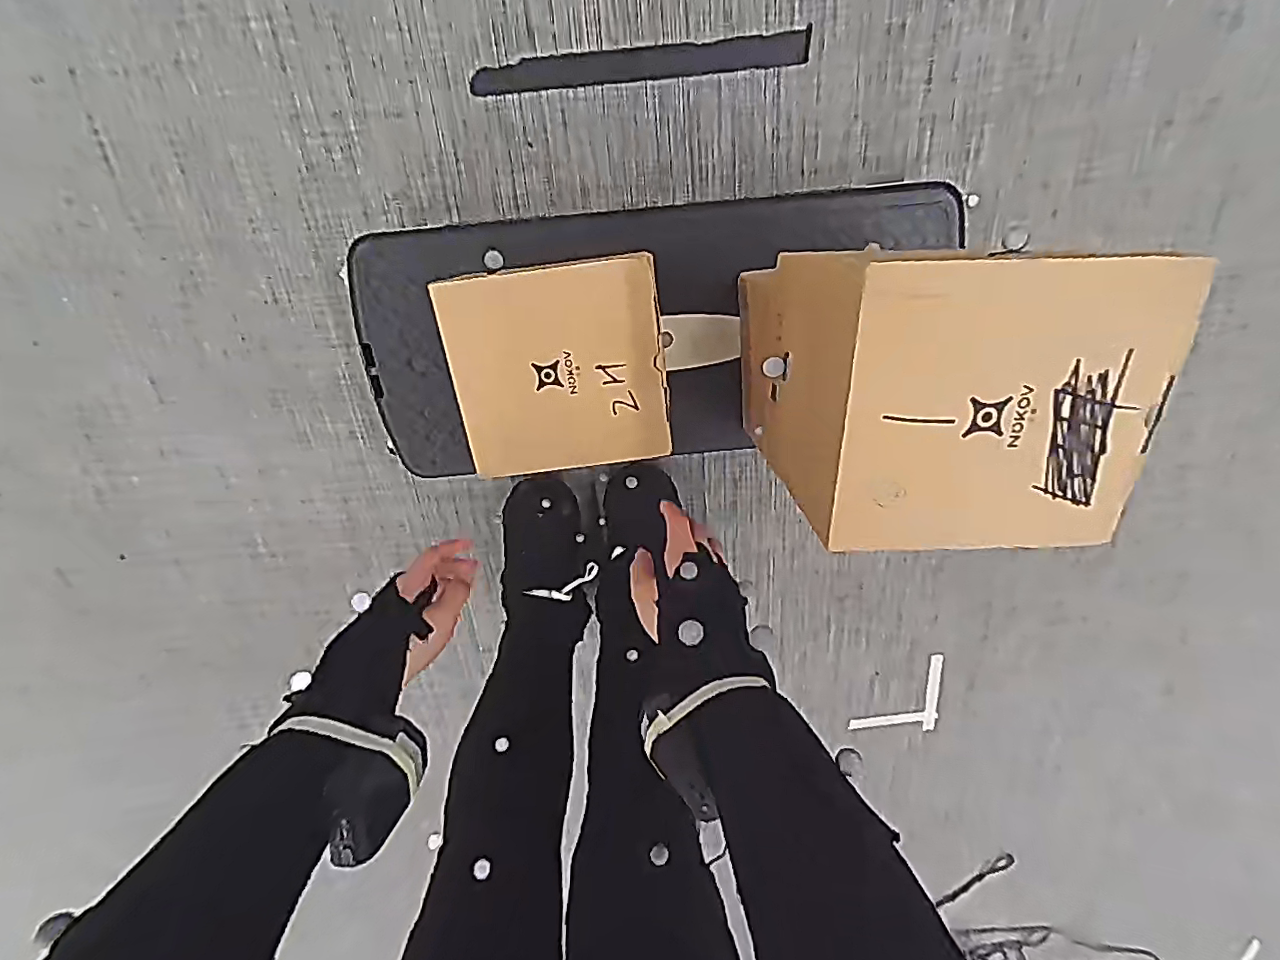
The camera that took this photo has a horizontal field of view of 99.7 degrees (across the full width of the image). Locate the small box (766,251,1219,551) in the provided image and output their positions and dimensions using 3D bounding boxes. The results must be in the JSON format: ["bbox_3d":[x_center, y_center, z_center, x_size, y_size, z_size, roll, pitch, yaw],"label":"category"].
[{"bbox_3d":[0.198,-0.065,0.370,0.179,0.176,0.168,-1,113,-1],"label":"small box"}]

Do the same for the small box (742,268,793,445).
[{"bbox_3d":[0.198,-0.117,0.527,0.168,0.176,0.179,-7,114,1],"label":"small box"}]
